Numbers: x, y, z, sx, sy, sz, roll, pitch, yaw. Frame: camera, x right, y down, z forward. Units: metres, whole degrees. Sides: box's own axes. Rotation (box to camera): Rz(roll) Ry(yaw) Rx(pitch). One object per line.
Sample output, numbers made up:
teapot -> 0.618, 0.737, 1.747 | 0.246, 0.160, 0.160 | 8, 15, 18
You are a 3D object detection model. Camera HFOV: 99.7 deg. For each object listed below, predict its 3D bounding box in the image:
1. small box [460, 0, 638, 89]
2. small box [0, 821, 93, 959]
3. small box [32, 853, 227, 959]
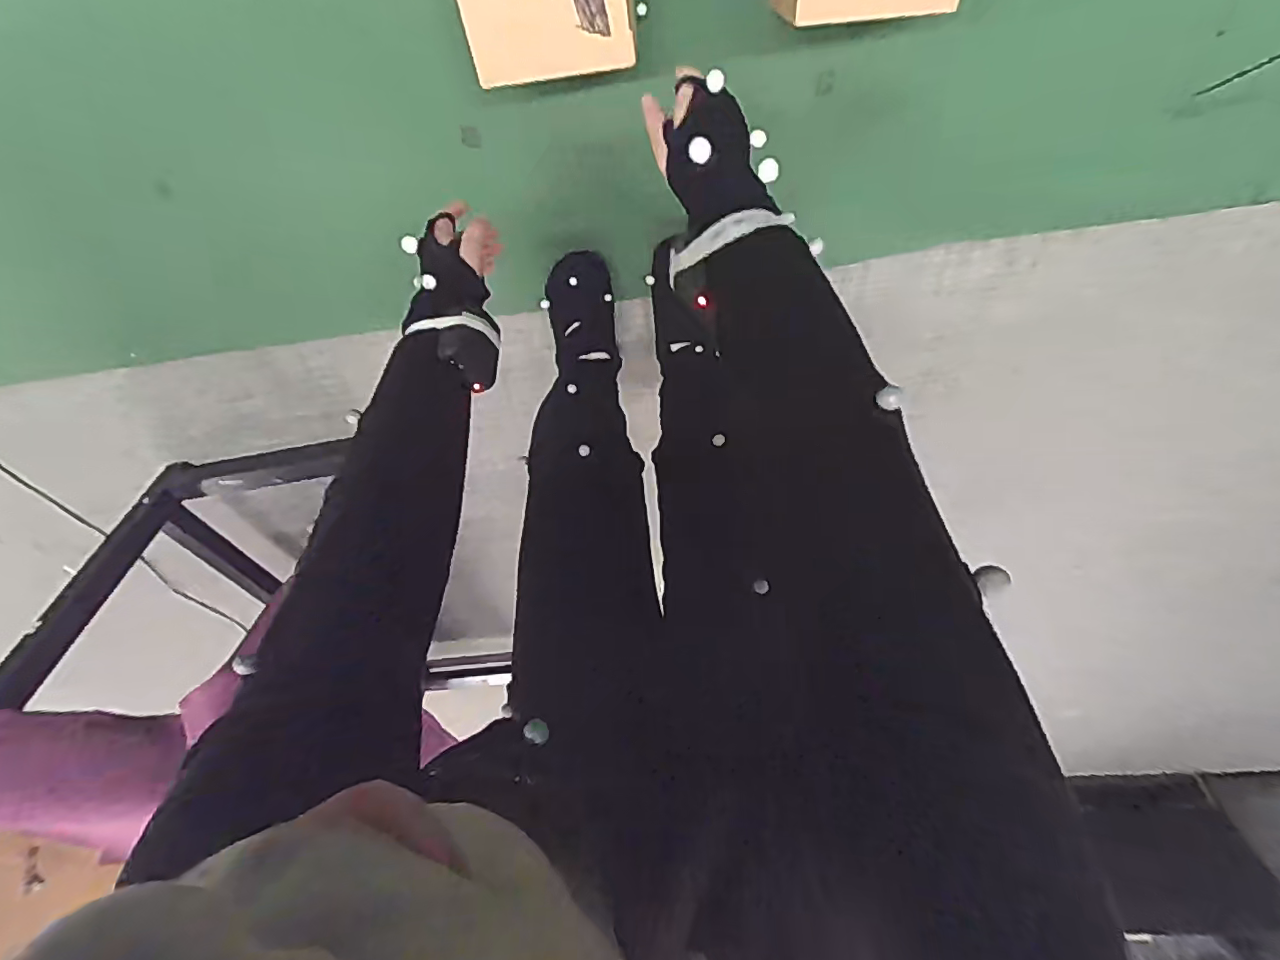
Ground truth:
small box -> -0.097, -0.554, 0.589 | 0.179, 0.176, 0.168 | -4, 137, 6
small box -> -0.956, 0.597, 0.760 | 0.179, 0.176, 0.168 | -8, 137, 5
small box -> -0.908, 0.787, 0.972 | 0.179, 0.176, 0.168 | -9, 137, 8
